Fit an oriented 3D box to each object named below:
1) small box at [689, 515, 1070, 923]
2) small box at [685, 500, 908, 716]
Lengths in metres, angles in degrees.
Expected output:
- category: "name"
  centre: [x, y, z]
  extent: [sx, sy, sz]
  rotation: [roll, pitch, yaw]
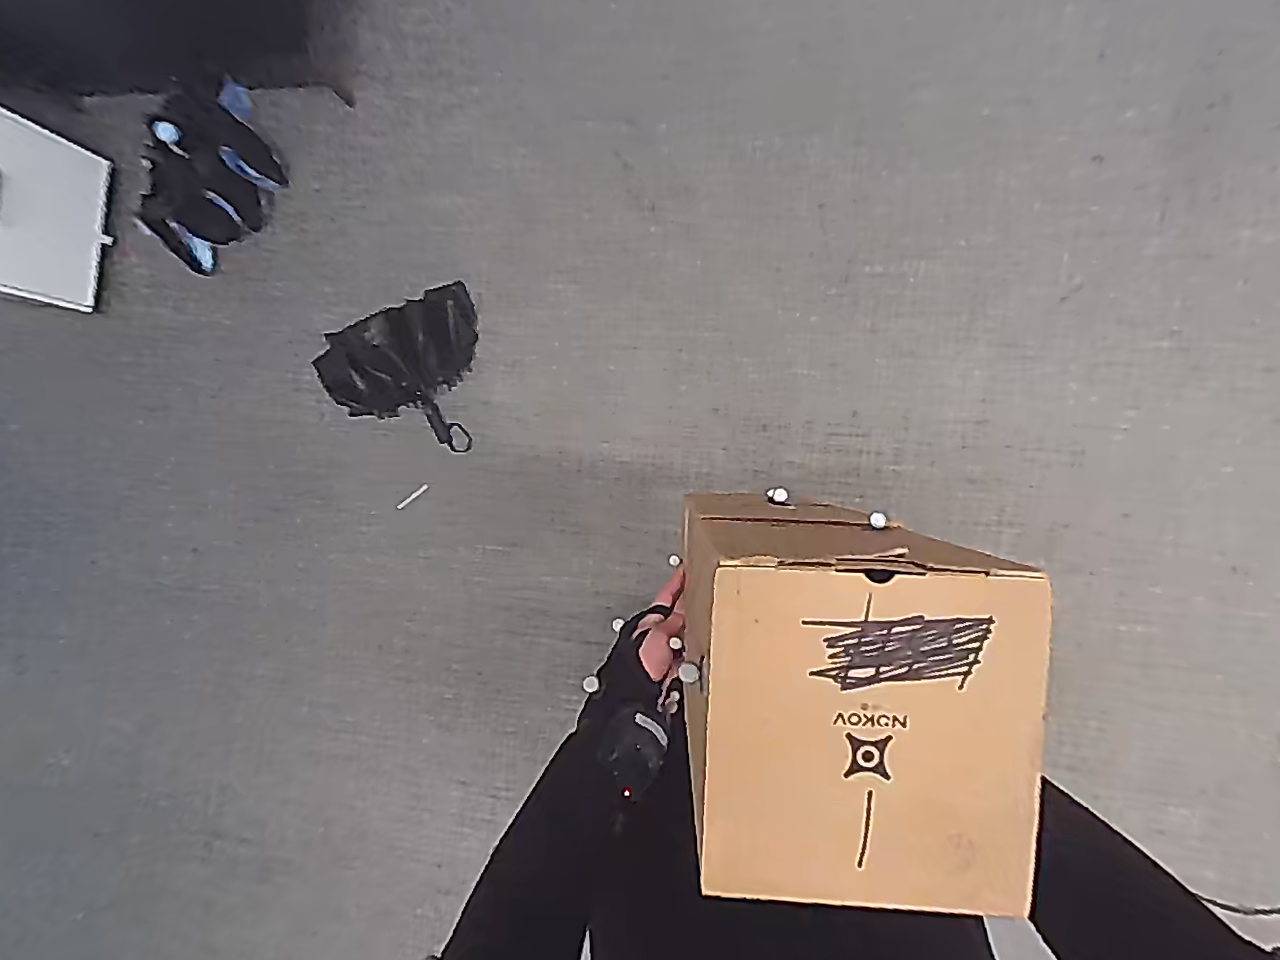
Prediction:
- category: "small box"
  centre: [0.119, 0.118, 0.338]
  extent: [0.168, 0.176, 0.179]
  rotation: [3, 92, 3]
- category: "small box"
  centre: [0.128, 0.111, 0.502]
  extent: [0.168, 0.176, 0.179]
  rotation: [1, 90, 3]
